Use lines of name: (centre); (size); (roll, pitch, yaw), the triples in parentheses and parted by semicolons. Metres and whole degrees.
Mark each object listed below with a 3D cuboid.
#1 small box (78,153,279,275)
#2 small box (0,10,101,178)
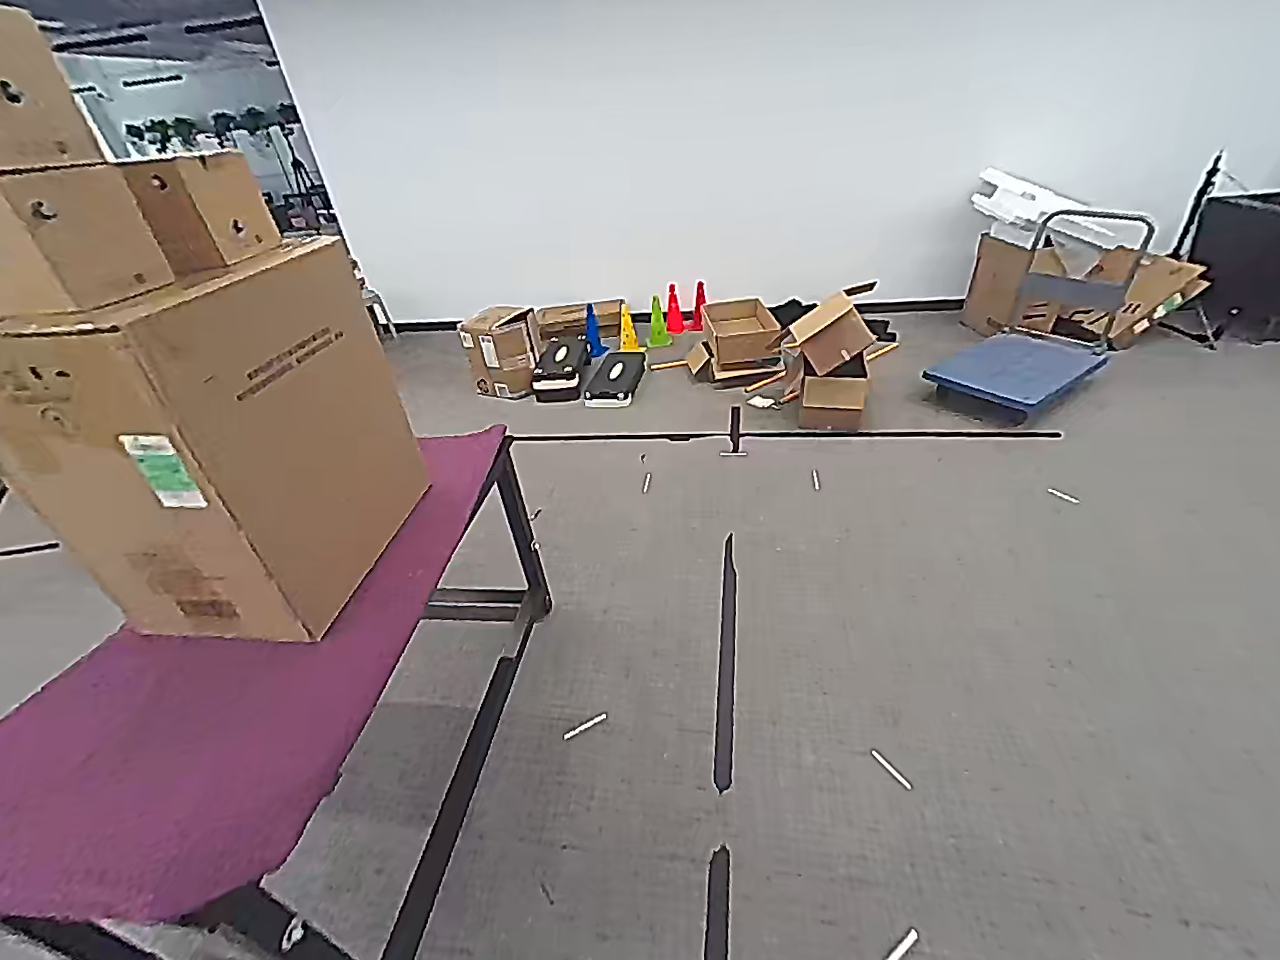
small box: (-0.802, -0.473, 0.963); (0.179, 0.176, 0.168); (-2, 36, 5)
small box: (-0.844, -0.464, 0.660); (0.179, 0.176, 0.168); (-3, 33, 5)
